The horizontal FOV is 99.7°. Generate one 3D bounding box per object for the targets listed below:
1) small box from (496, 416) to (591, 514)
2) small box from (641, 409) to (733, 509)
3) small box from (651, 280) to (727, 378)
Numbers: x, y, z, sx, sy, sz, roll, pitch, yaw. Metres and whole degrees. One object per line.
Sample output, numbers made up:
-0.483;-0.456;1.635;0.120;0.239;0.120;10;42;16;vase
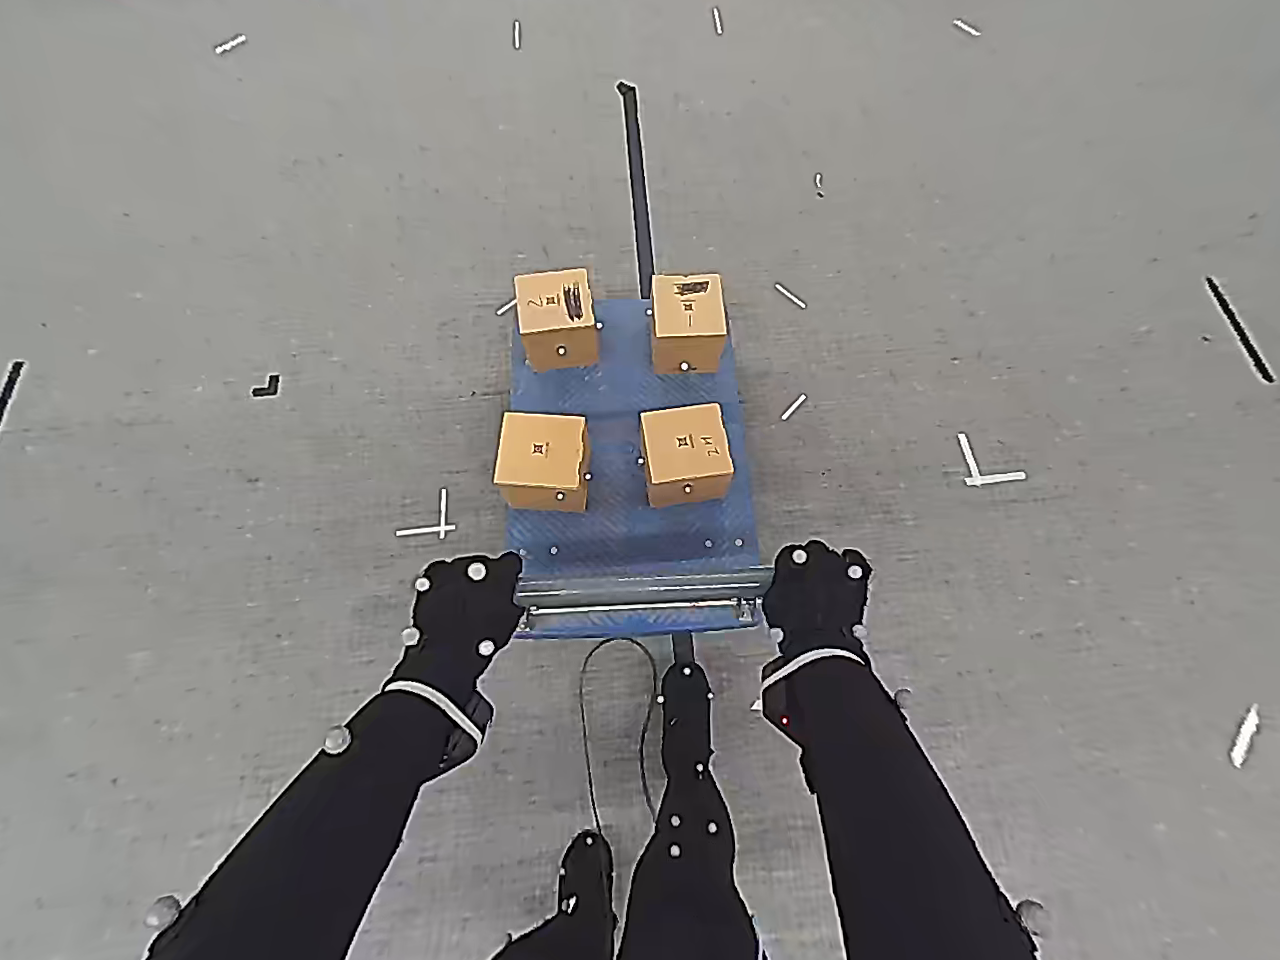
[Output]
-0.209;-0.028;1.212;0.179;0.176;0.168;4;69;-1;small box
0.098;-0.042;1.221;0.179;0.176;0.168;-7;70;-3;small box
0.115;-0.372;1.345;0.168;0.176;0.179;-2;70;-2;small box
